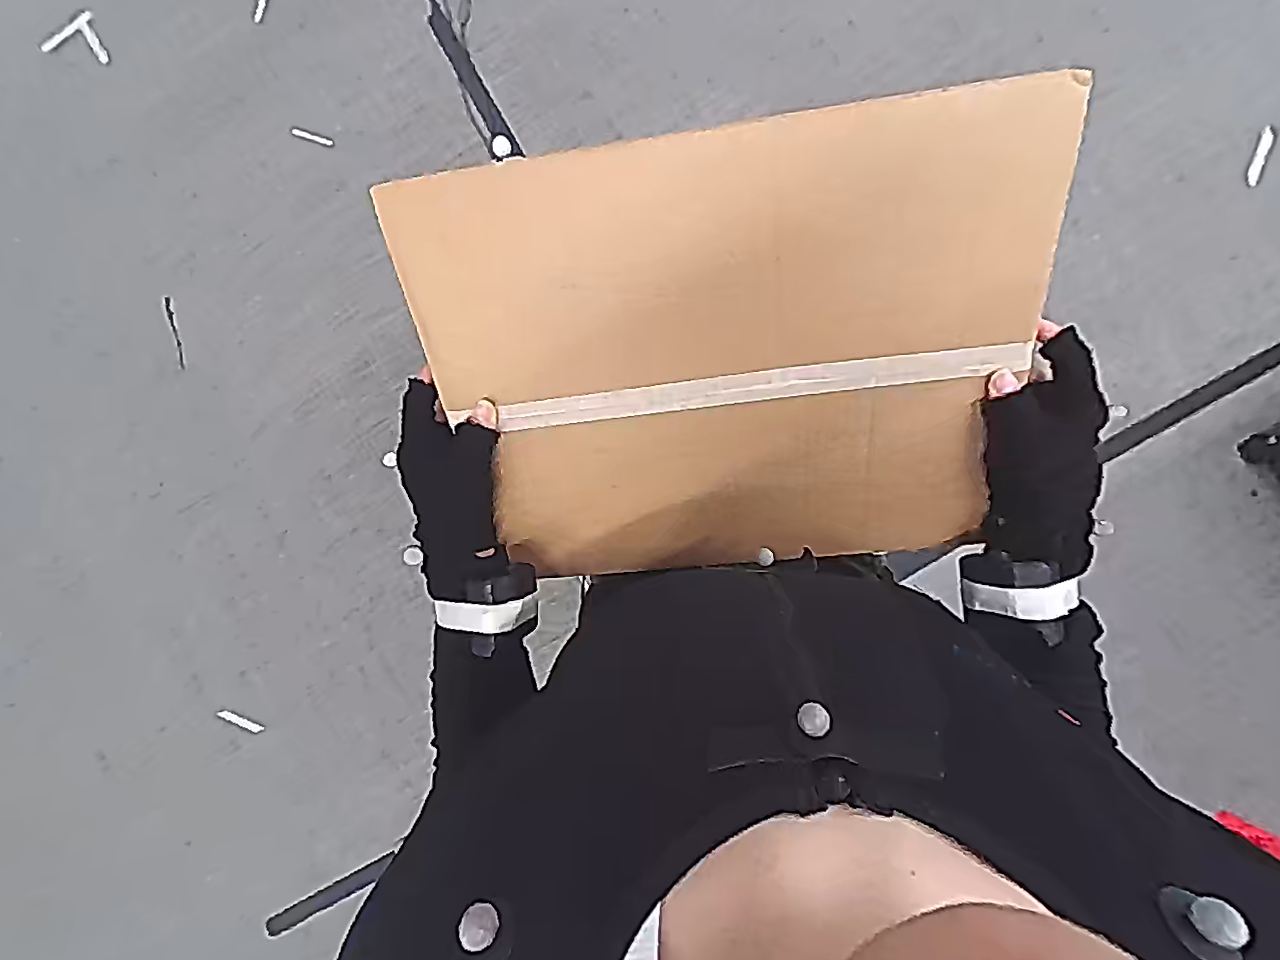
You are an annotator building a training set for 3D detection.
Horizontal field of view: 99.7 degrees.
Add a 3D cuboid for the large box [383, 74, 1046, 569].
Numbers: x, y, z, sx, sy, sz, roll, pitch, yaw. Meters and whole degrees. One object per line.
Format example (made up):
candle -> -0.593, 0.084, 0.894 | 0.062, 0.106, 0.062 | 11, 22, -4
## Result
large box -> 0.057, -0.146, 0.521 | 0.408, 0.320, 0.320 | -6, 121, 6
